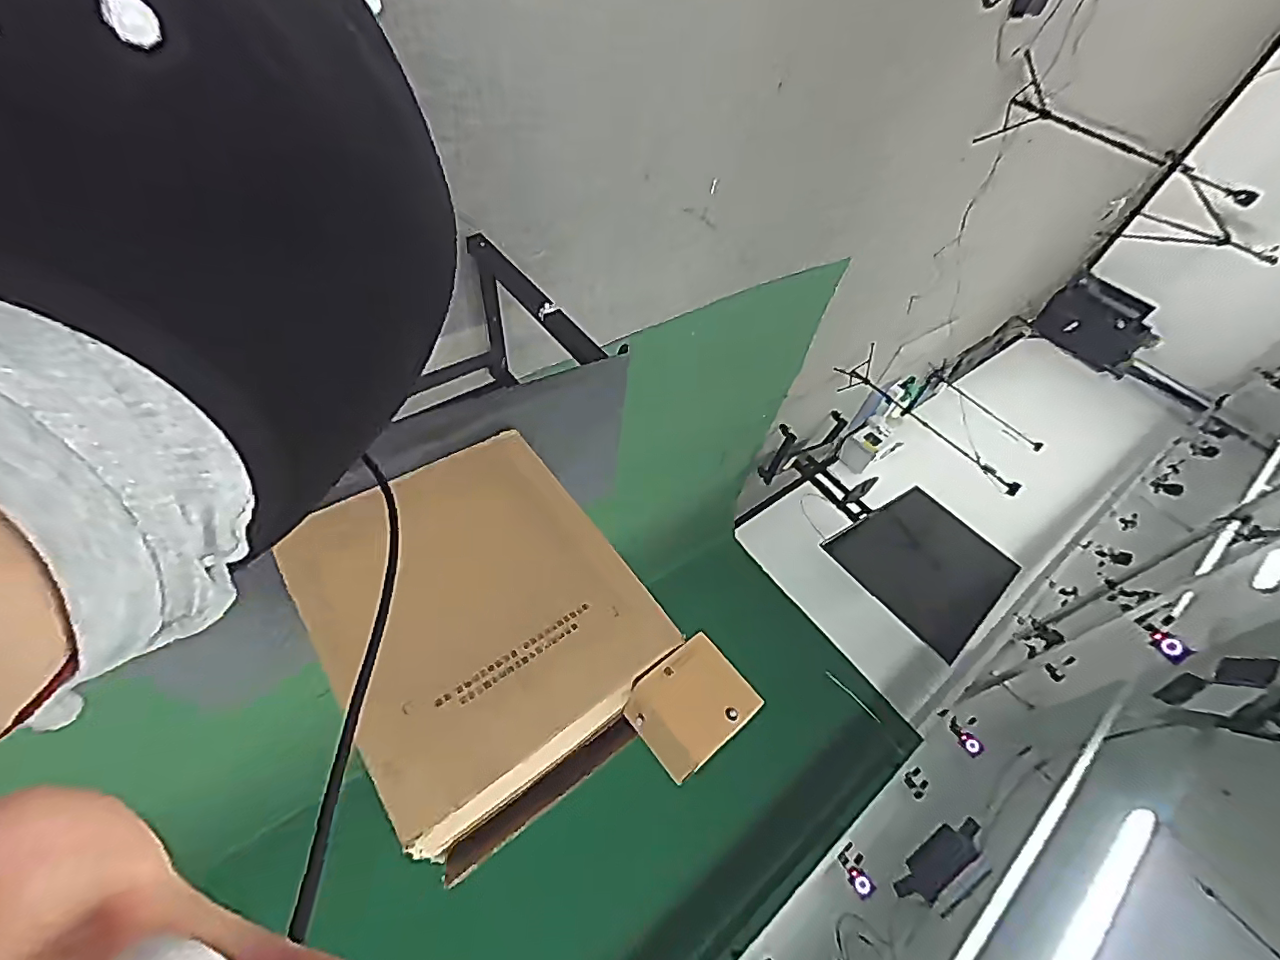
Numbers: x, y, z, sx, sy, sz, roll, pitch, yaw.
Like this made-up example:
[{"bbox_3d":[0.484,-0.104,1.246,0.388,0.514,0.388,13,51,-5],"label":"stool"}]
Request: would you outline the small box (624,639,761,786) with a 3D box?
[{"bbox_3d":[0.089,0.429,1.010,0.168,0.176,0.179,-31,153,-31],"label":"small box"}]
